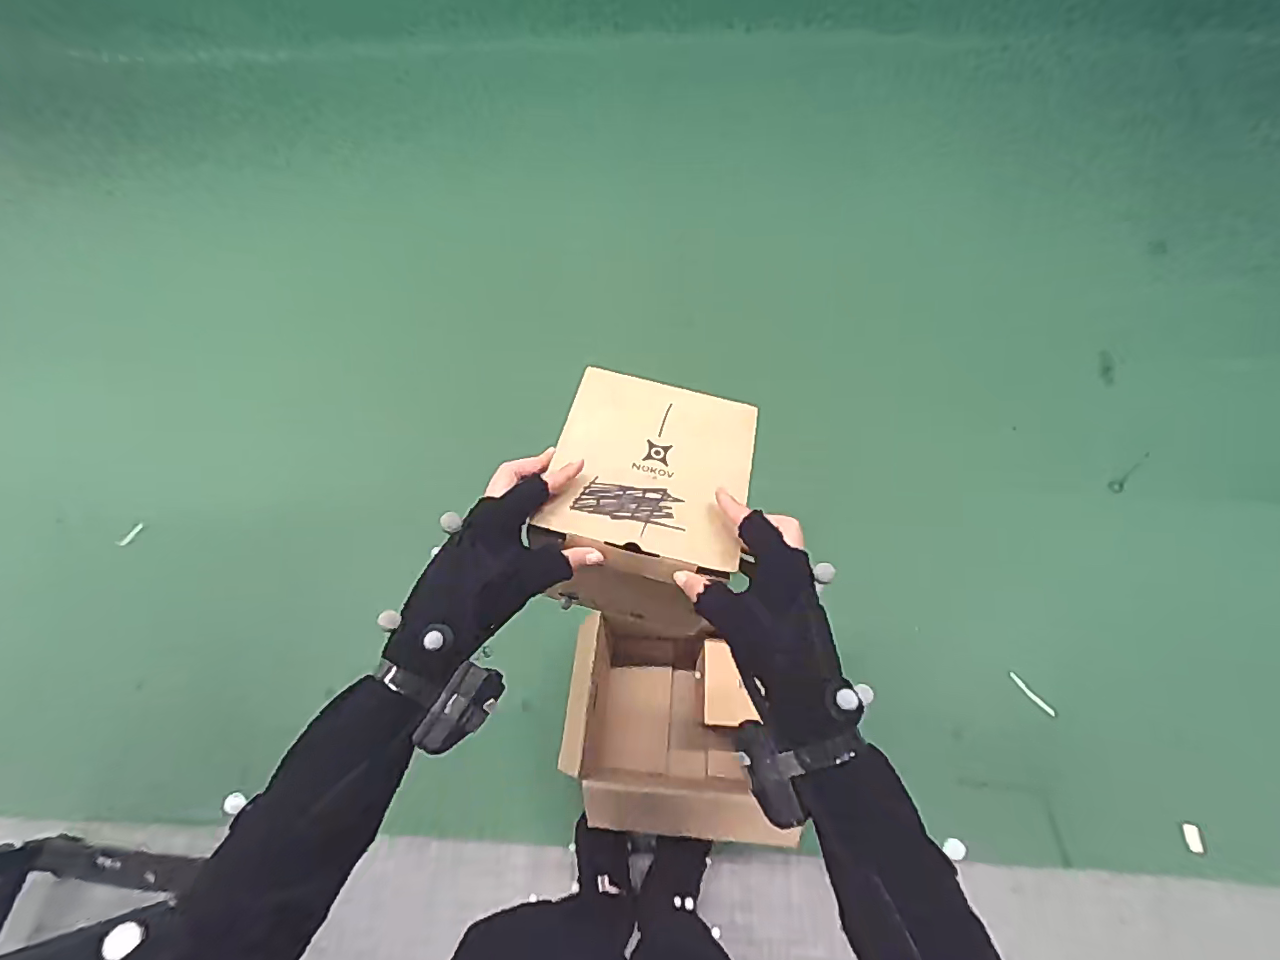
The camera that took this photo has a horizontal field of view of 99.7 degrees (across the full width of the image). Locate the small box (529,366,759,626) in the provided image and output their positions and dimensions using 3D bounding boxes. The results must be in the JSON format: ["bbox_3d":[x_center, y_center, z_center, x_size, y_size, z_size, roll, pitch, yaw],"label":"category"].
[{"bbox_3d":[0.005,0.024,0.524,0.168,0.176,0.179,14,59,2],"label":"small box"}]
